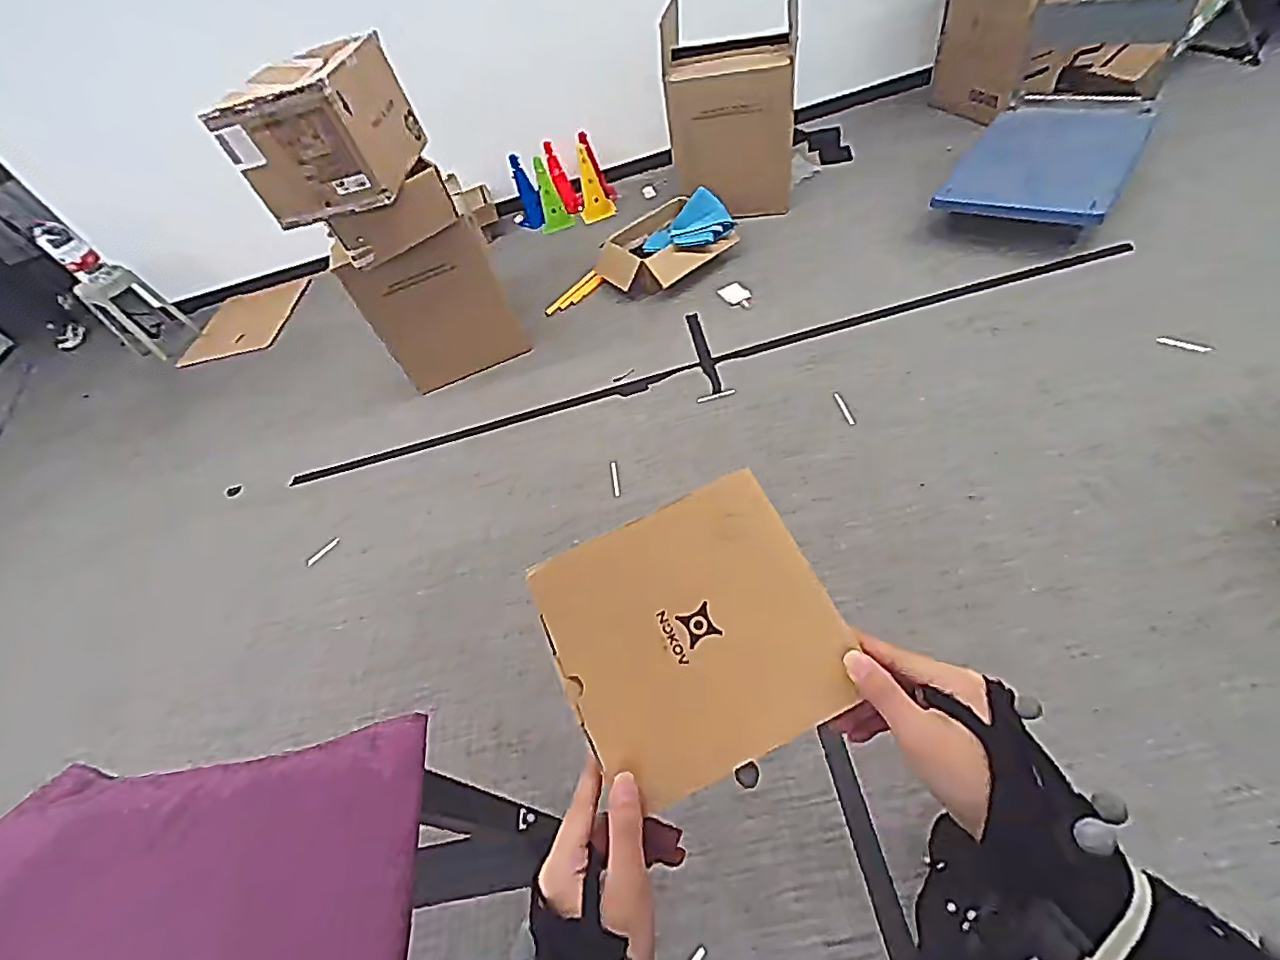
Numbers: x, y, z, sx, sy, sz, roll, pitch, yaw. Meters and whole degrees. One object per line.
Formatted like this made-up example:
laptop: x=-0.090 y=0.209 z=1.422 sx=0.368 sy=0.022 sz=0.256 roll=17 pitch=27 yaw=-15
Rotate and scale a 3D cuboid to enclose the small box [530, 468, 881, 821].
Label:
small box: x=0.042 y=0.121 z=0.418 sx=0.179 sy=0.176 sz=0.168 roll=-26 pitch=68 yaw=-4
